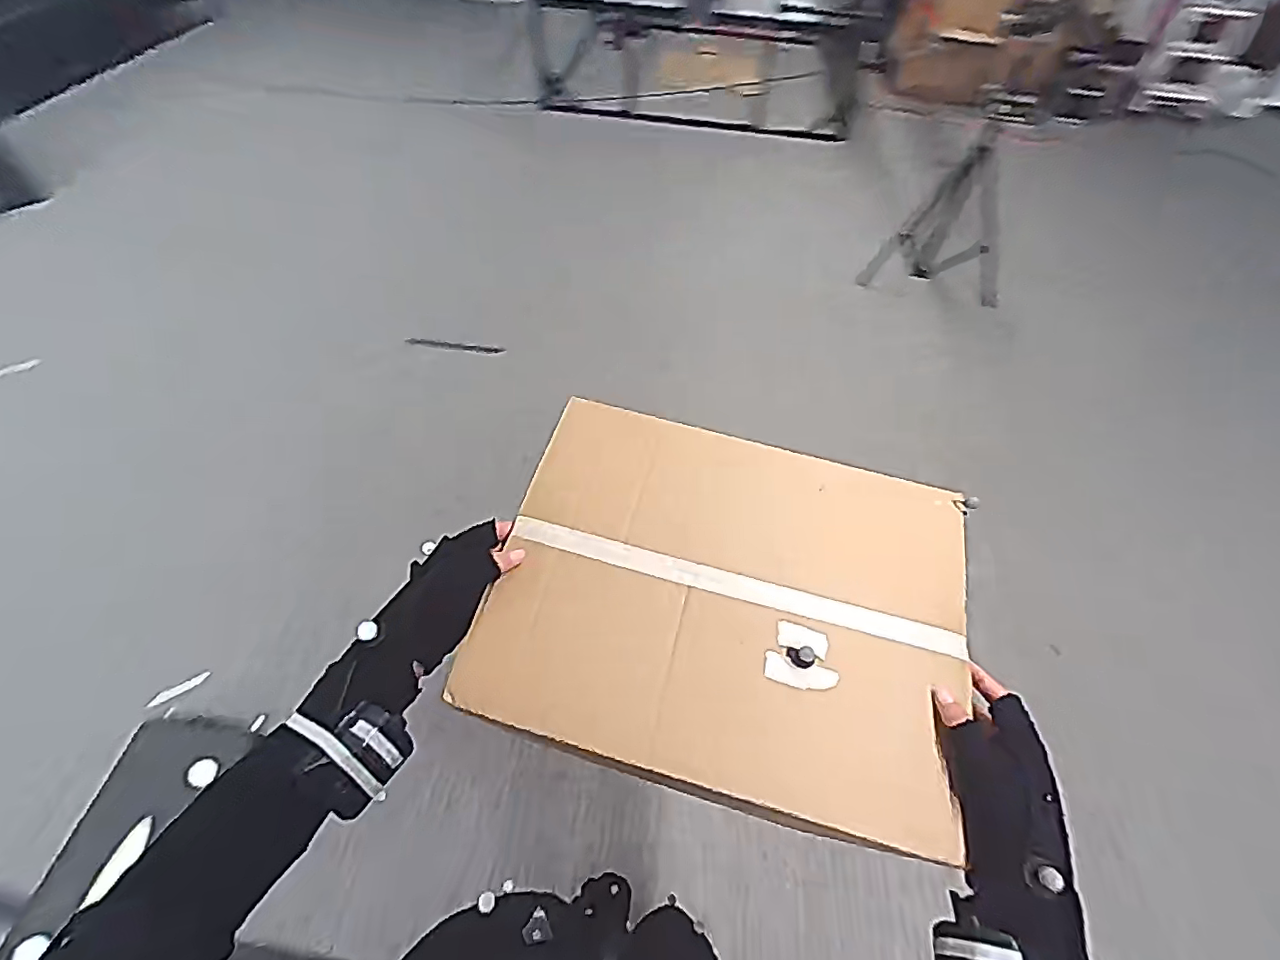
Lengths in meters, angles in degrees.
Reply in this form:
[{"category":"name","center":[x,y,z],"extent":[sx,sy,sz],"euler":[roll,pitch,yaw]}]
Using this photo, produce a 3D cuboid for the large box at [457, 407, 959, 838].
[{"category":"large box","center":[0.070,0.167,0.615],"extent":[0.408,0.320,0.320],"euler":[14,61,4]}]
